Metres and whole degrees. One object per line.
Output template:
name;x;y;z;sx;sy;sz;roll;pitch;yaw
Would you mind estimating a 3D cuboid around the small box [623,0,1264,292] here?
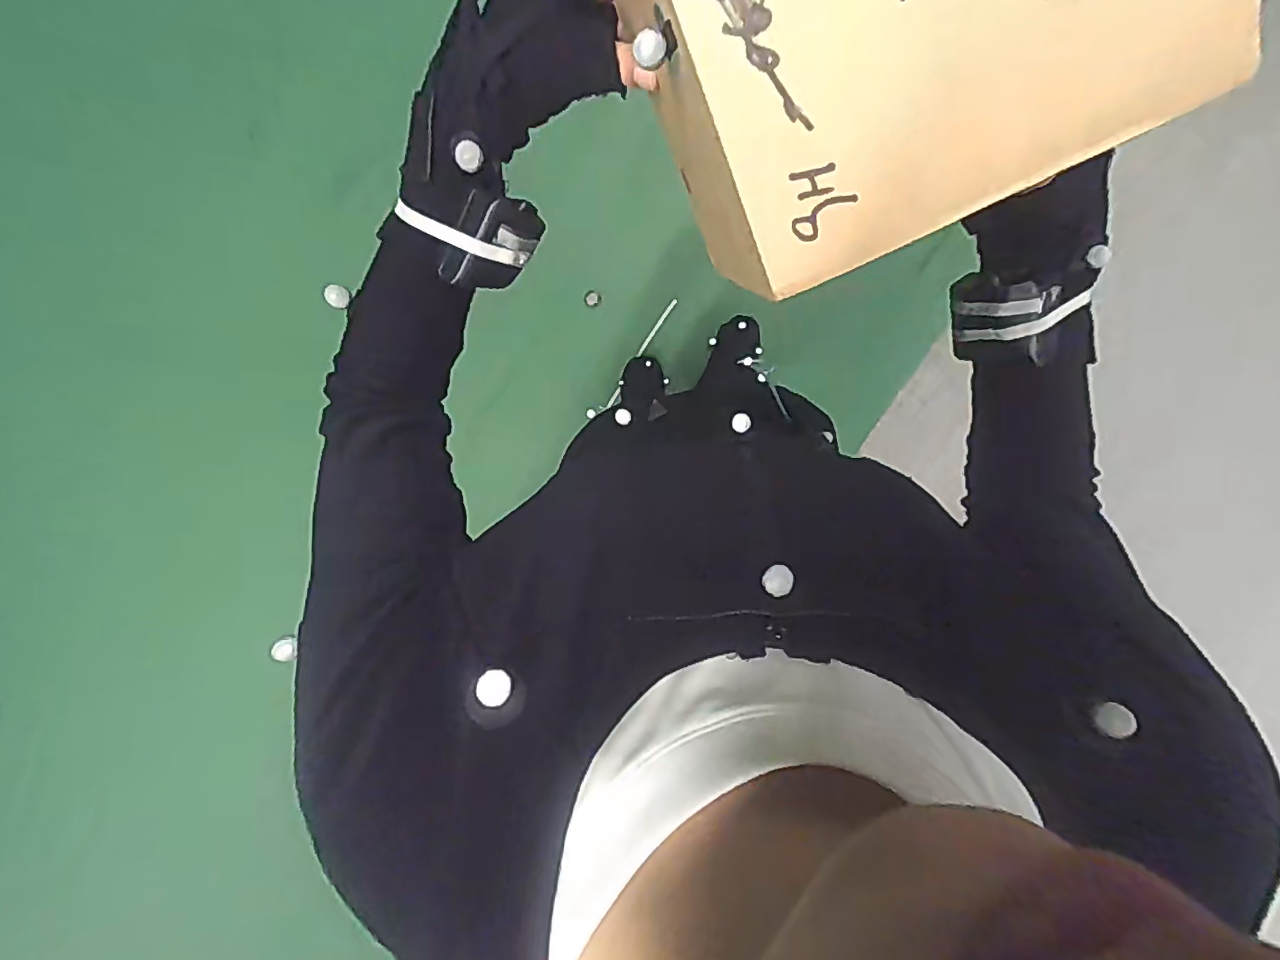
small box;0.099;-0.204;0.239;0.179;0.176;0.168;-22;113;9
